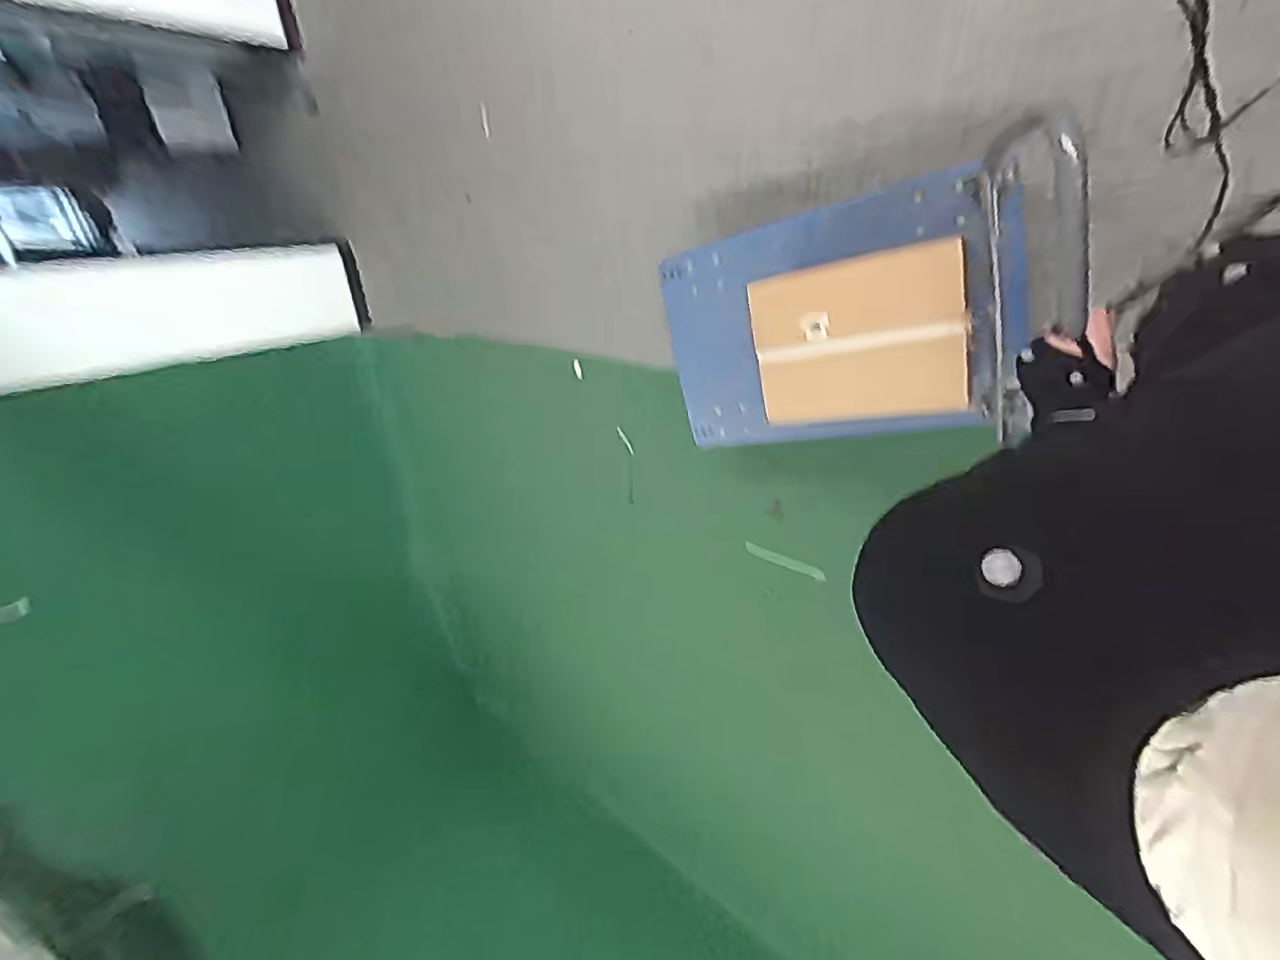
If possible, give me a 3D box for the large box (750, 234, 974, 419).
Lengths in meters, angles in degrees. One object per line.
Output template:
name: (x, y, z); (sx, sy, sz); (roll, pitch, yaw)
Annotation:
large box: (0.511, -0.342, 1.221); (0.408, 0.320, 0.320); (-1, 109, 33)
